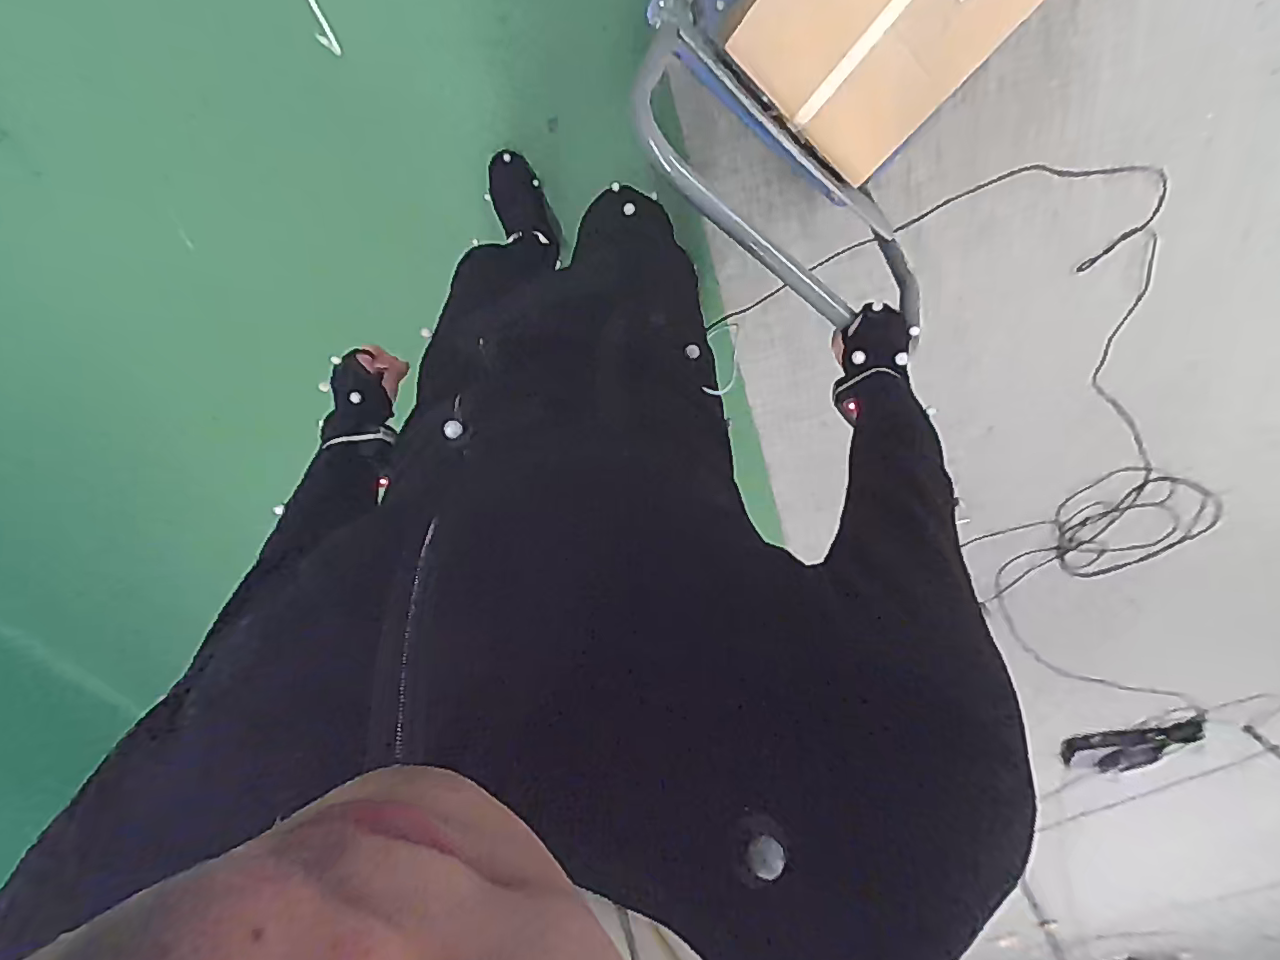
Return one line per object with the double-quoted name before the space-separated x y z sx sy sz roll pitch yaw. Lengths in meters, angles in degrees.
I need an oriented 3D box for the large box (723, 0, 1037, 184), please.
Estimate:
"large box" 0.378 -0.781 0.859 0.320 0.320 0.408 32 128 -22
